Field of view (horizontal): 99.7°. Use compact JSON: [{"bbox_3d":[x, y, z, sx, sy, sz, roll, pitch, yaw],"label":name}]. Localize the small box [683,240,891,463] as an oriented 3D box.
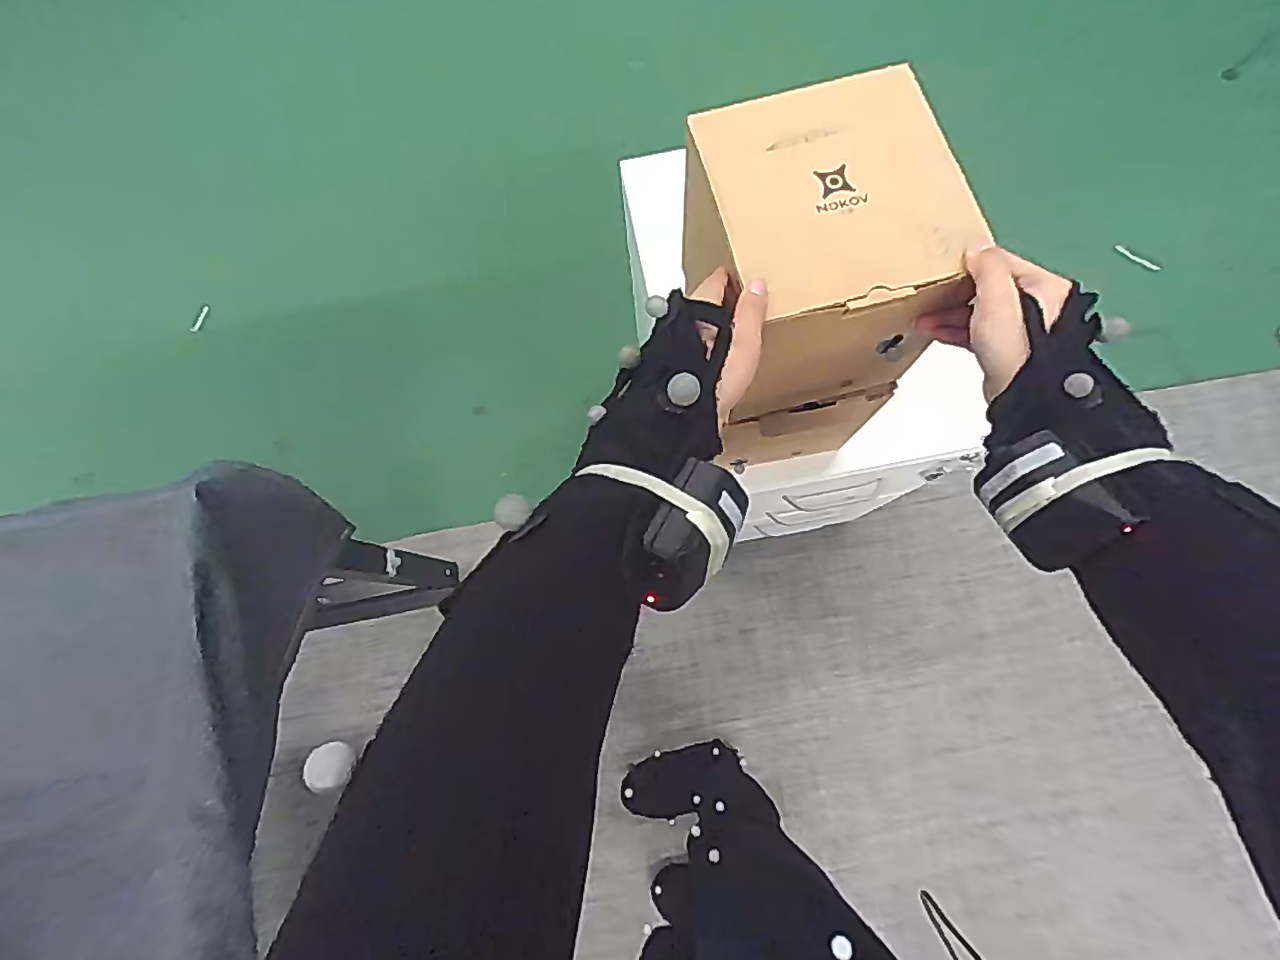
[{"bbox_3d":[0.143,-0.126,0.597,0.168,0.176,0.179,-10,75,-1],"label":"small box"}]
